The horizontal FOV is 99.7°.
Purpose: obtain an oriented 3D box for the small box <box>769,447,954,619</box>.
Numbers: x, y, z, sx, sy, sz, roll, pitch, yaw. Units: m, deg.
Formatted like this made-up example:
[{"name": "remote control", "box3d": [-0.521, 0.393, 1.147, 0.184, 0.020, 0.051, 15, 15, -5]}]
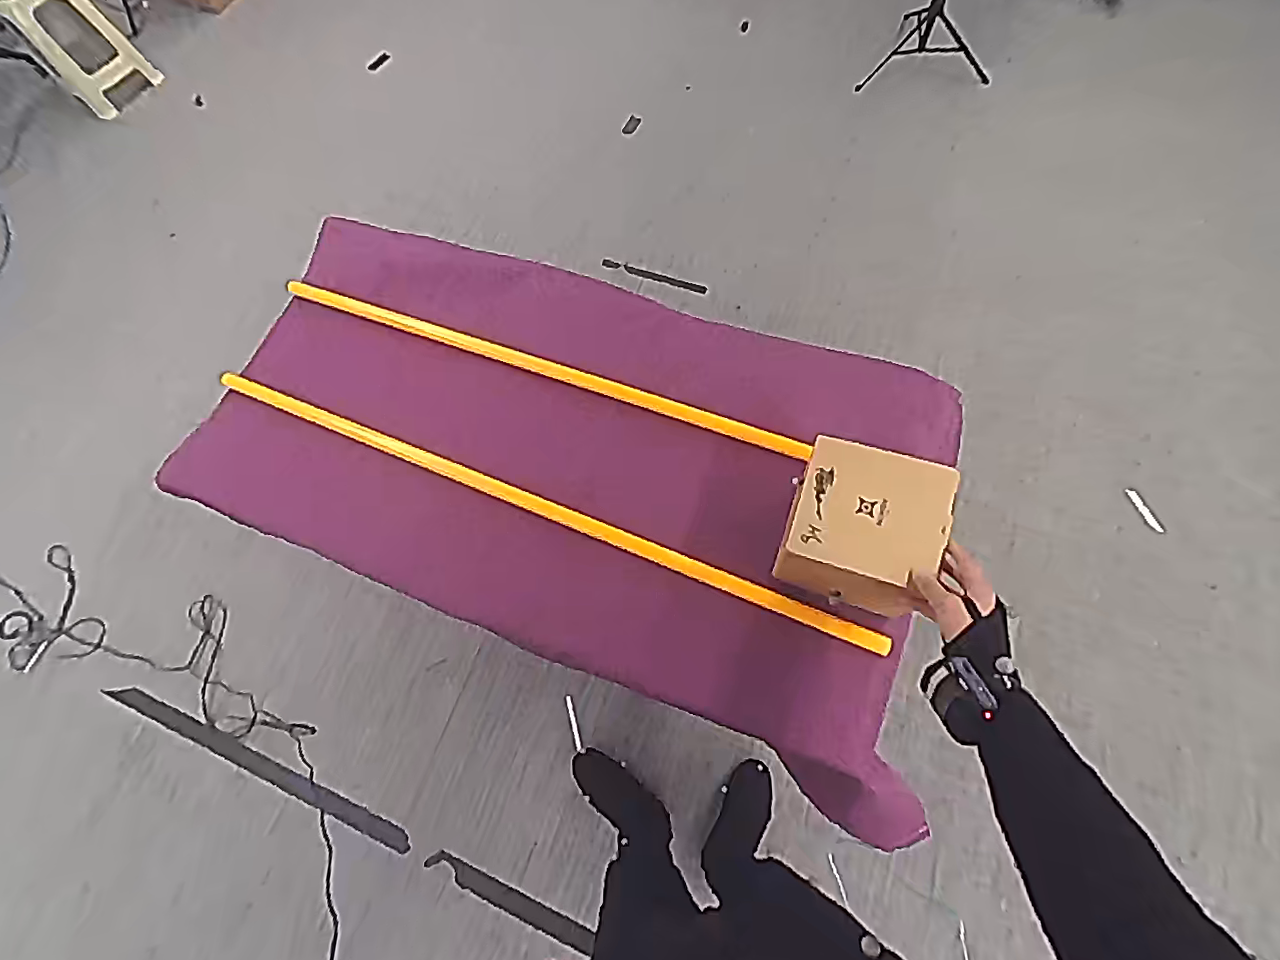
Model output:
[{"name": "small box", "box3d": [0.289, 0.081, 0.737, 0.179, 0.176, 0.168, 18, 72, 14]}]
